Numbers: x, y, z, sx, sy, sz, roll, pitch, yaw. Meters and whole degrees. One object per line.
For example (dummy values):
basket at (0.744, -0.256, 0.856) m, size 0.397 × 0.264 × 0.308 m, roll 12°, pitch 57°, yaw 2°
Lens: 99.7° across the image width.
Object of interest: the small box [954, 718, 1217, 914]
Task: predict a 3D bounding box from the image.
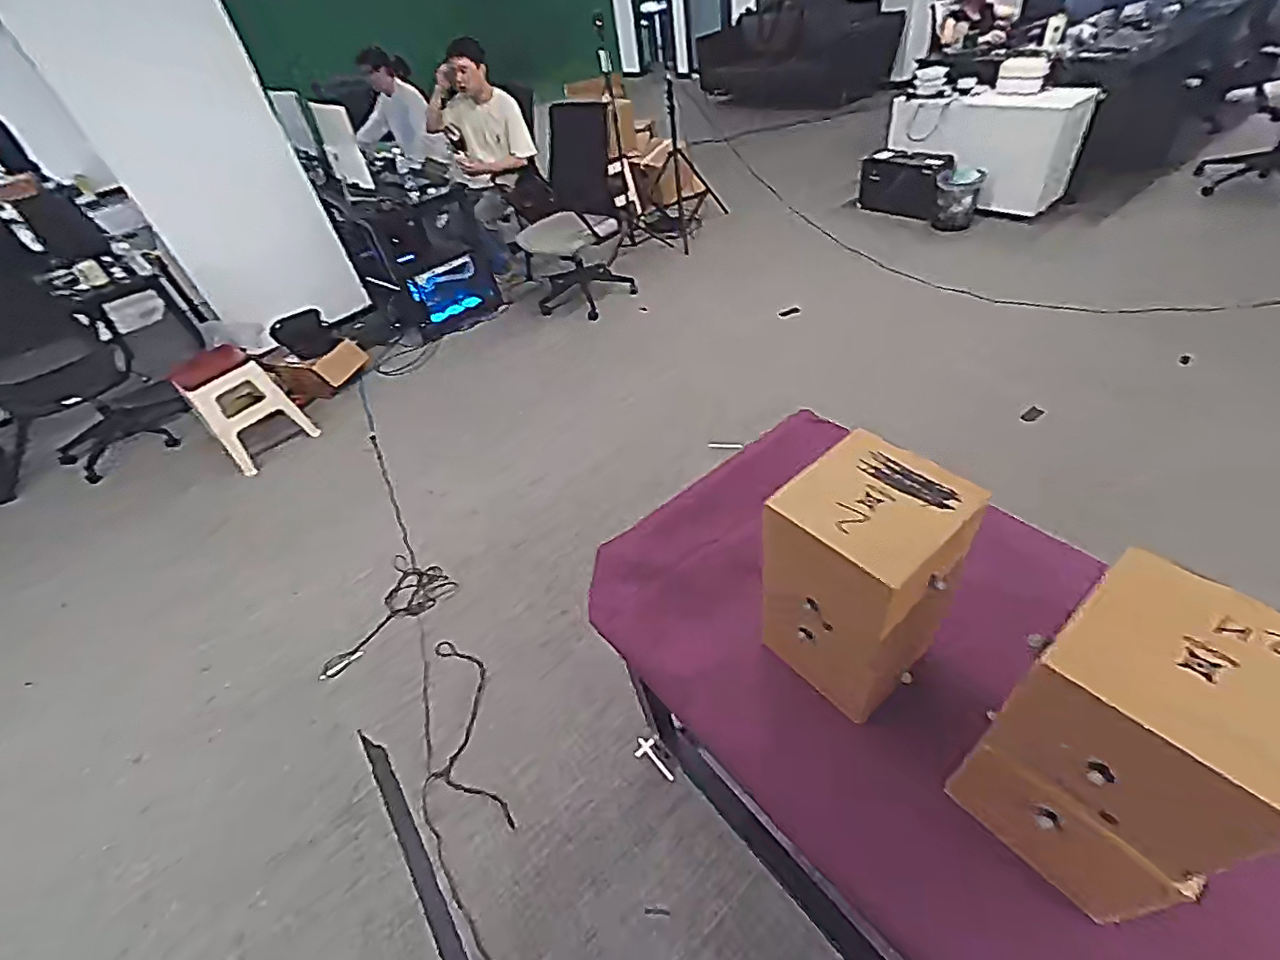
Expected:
small box at (0.484, 0.327, 0.588) m, size 0.168 × 0.176 × 0.179 m, roll -34°, pitch 47°, yaw -21°

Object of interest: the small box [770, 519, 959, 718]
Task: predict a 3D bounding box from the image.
small box at (0.300, 0.194, 0.762) m, size 0.168 × 0.176 × 0.179 m, roll -34°, pitch 49°, yaw -22°

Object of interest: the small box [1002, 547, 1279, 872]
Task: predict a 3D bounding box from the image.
small box at (0.461, 0.202, 0.482) m, size 0.179 × 0.176 × 0.168 m, roll -33°, pitch 47°, yaw -22°
